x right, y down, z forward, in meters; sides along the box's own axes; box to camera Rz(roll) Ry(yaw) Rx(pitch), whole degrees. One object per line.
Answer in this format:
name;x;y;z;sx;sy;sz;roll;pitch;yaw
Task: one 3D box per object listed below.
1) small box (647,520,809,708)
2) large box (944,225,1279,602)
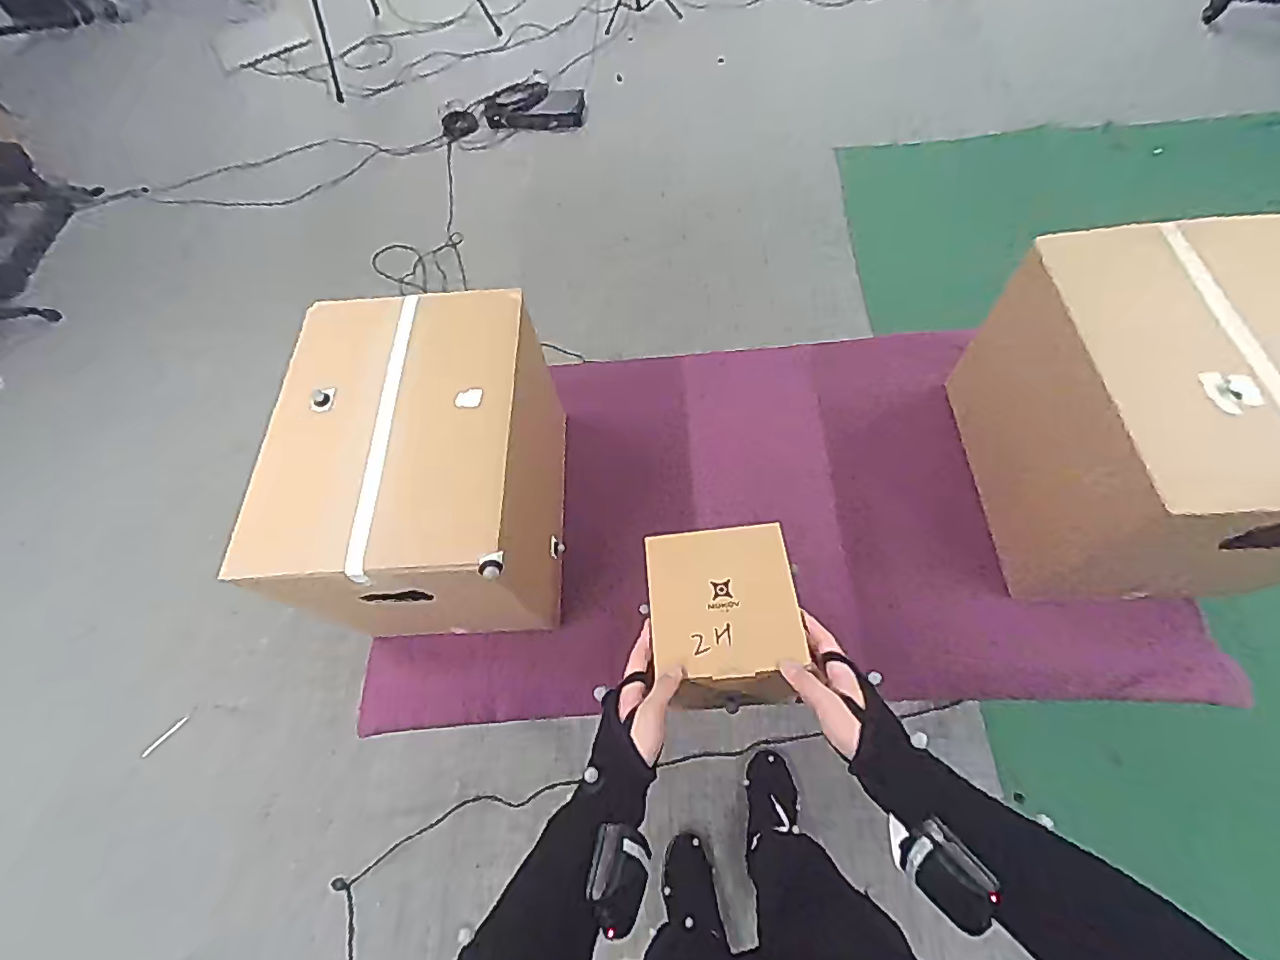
small box;0.100;0.171;0.676;0.168;0.176;0.179;-7;56;4
large box;0.678;-0.072;0.734;0.320;0.320;0.408;-3;63;6
